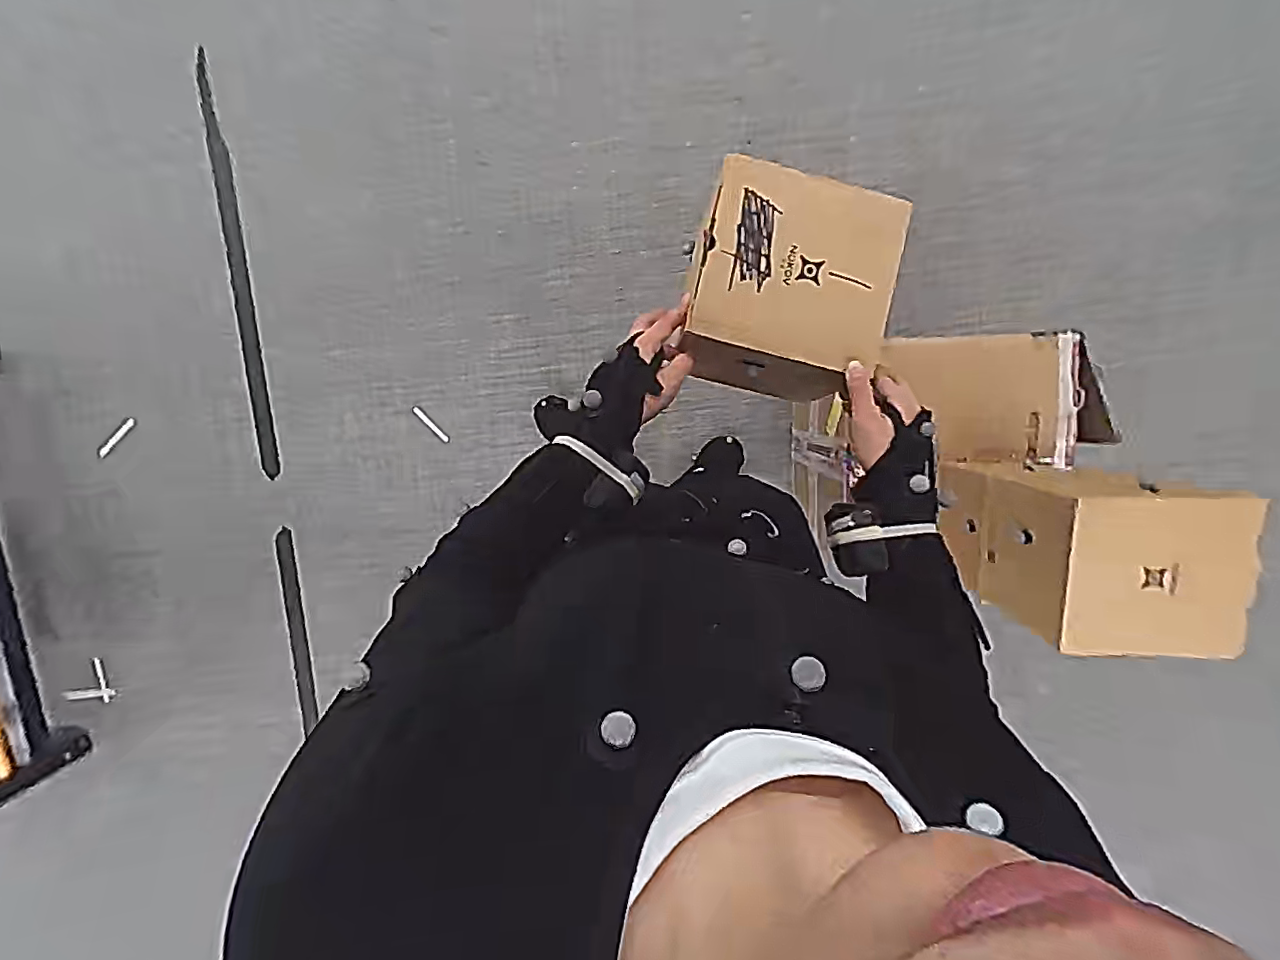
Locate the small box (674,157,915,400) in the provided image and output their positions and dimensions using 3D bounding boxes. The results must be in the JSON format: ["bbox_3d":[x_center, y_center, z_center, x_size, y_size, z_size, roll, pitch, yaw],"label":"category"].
[{"bbox_3d":[0.141,-0.187,0.558,0.179,0.176,0.168,13,89,-4],"label":"small box"}]

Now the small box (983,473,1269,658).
[{"bbox_3d":[0.525,0.085,0.616,0.179,0.176,0.168,0,99,4],"label":"small box"}]

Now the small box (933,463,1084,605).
[{"bbox_3d":[0.546,0.072,0.777,0.168,0.176,0.179,3,99,5],"label":"small box"}]
